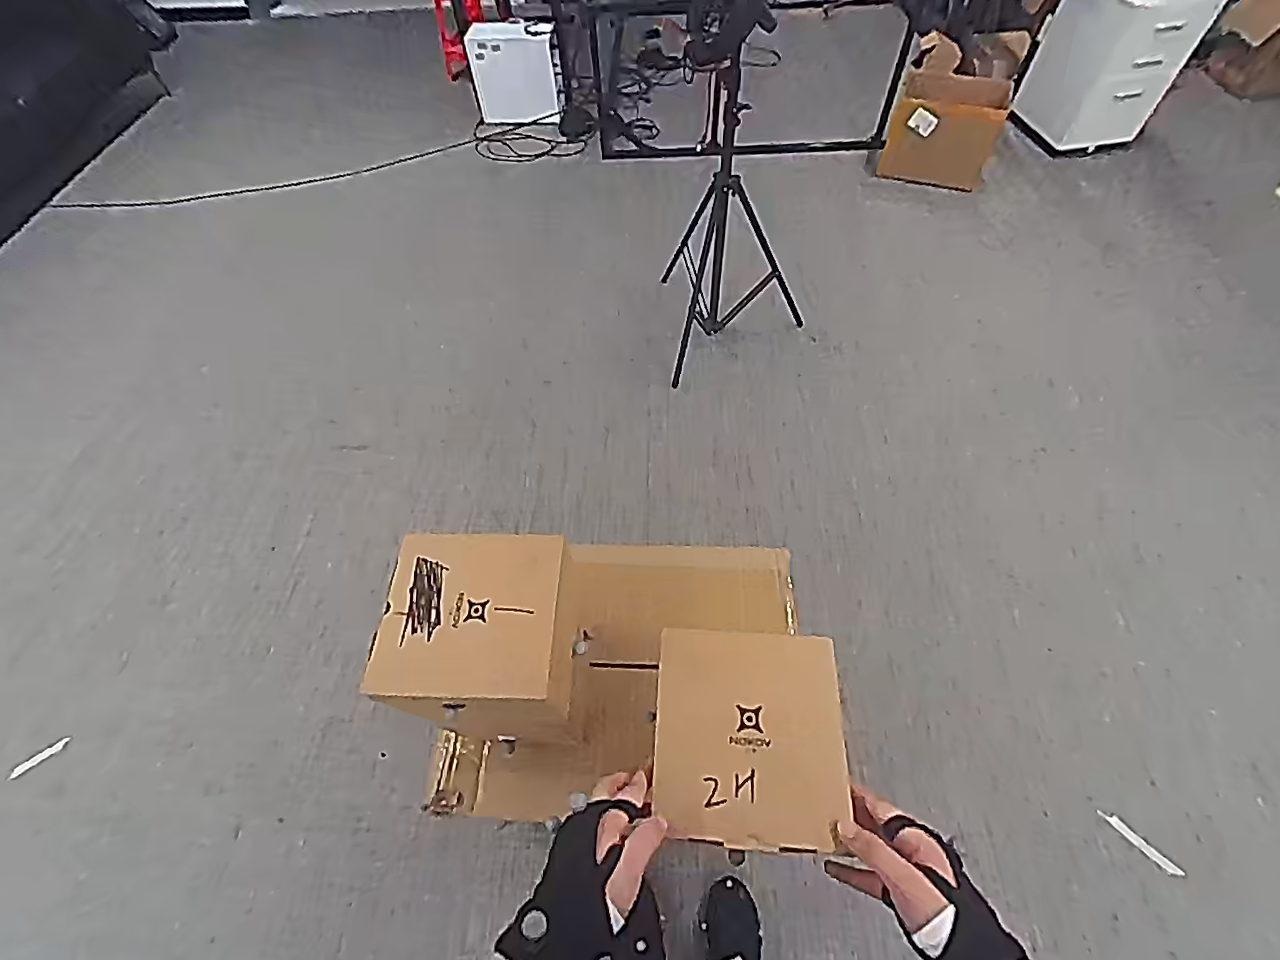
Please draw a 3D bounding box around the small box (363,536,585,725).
[{"bbox_3d":[-0.165,0.174,0.606,0.179,0.176,0.168,0,58,3],"label":"small box"}]

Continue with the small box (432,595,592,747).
[{"bbox_3d":[-0.160,0.260,0.747,0.168,0.176,0.179,0,59,4],"label":"small box"}]

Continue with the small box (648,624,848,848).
[{"bbox_3d":[0.098,0.263,0.553,0.168,0.176,0.179,1,57,5],"label":"small box"}]
